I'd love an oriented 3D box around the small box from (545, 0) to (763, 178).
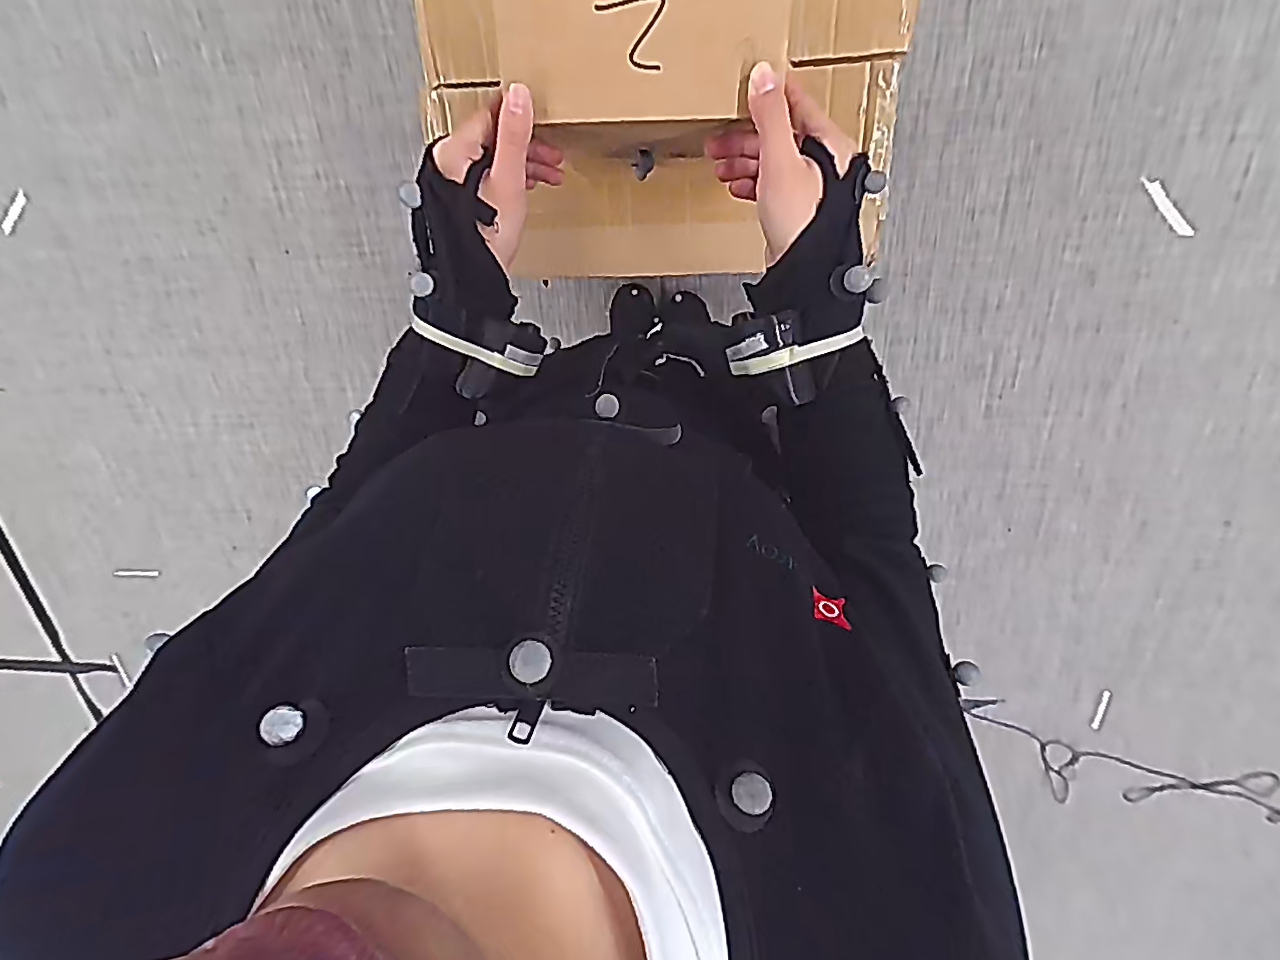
[{"bbox_3d":[0.017,-0.389,0.509,0.179,0.176,0.168,1,112,4],"label":"small box"}]
